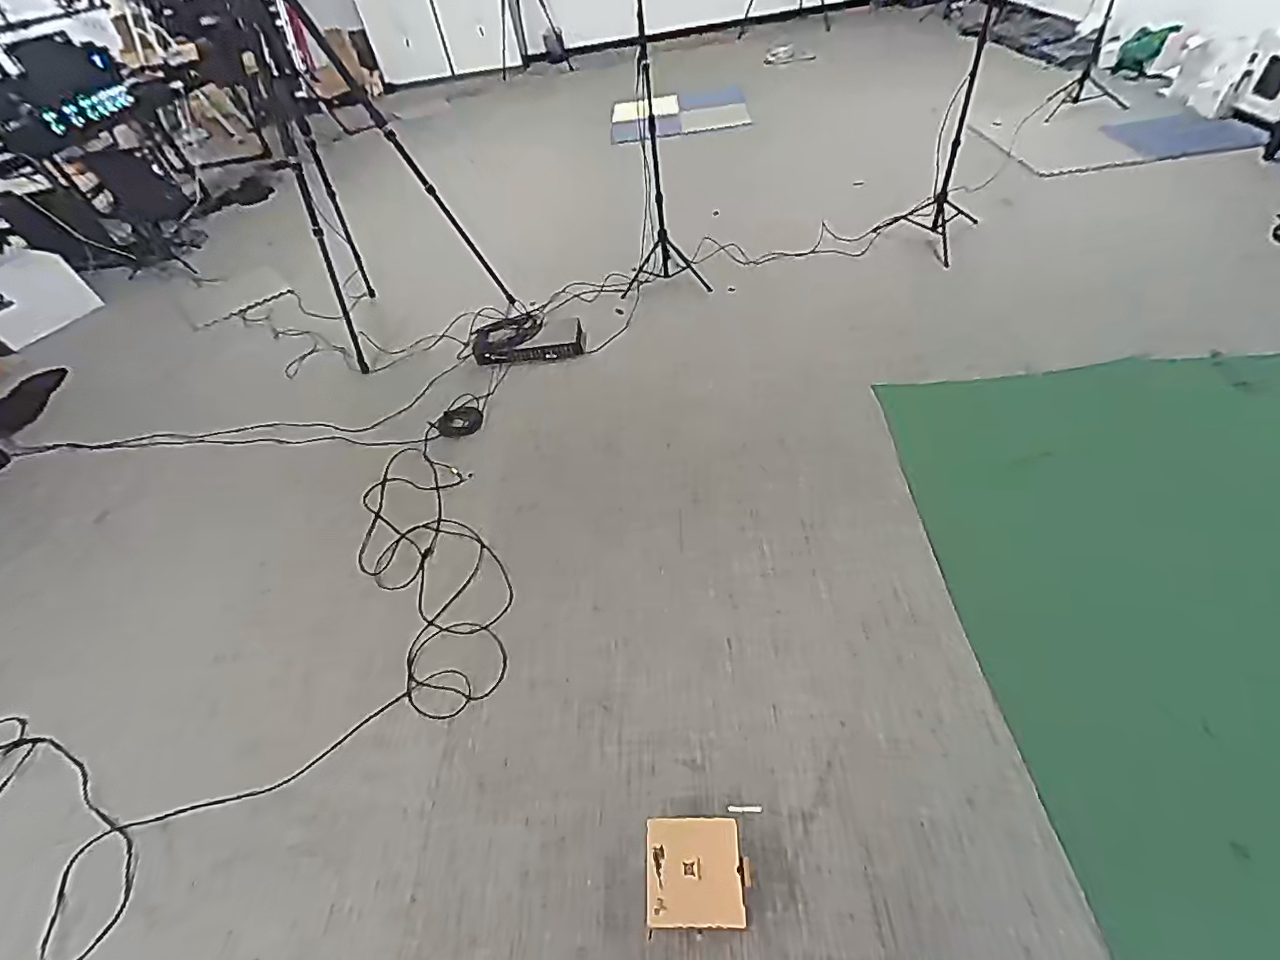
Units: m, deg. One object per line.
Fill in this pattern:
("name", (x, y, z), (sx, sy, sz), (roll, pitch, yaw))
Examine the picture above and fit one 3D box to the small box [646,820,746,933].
("small box", (0.105, 0.769, 1.050), (0.179, 0.176, 0.168), (-4, 49, 5))
